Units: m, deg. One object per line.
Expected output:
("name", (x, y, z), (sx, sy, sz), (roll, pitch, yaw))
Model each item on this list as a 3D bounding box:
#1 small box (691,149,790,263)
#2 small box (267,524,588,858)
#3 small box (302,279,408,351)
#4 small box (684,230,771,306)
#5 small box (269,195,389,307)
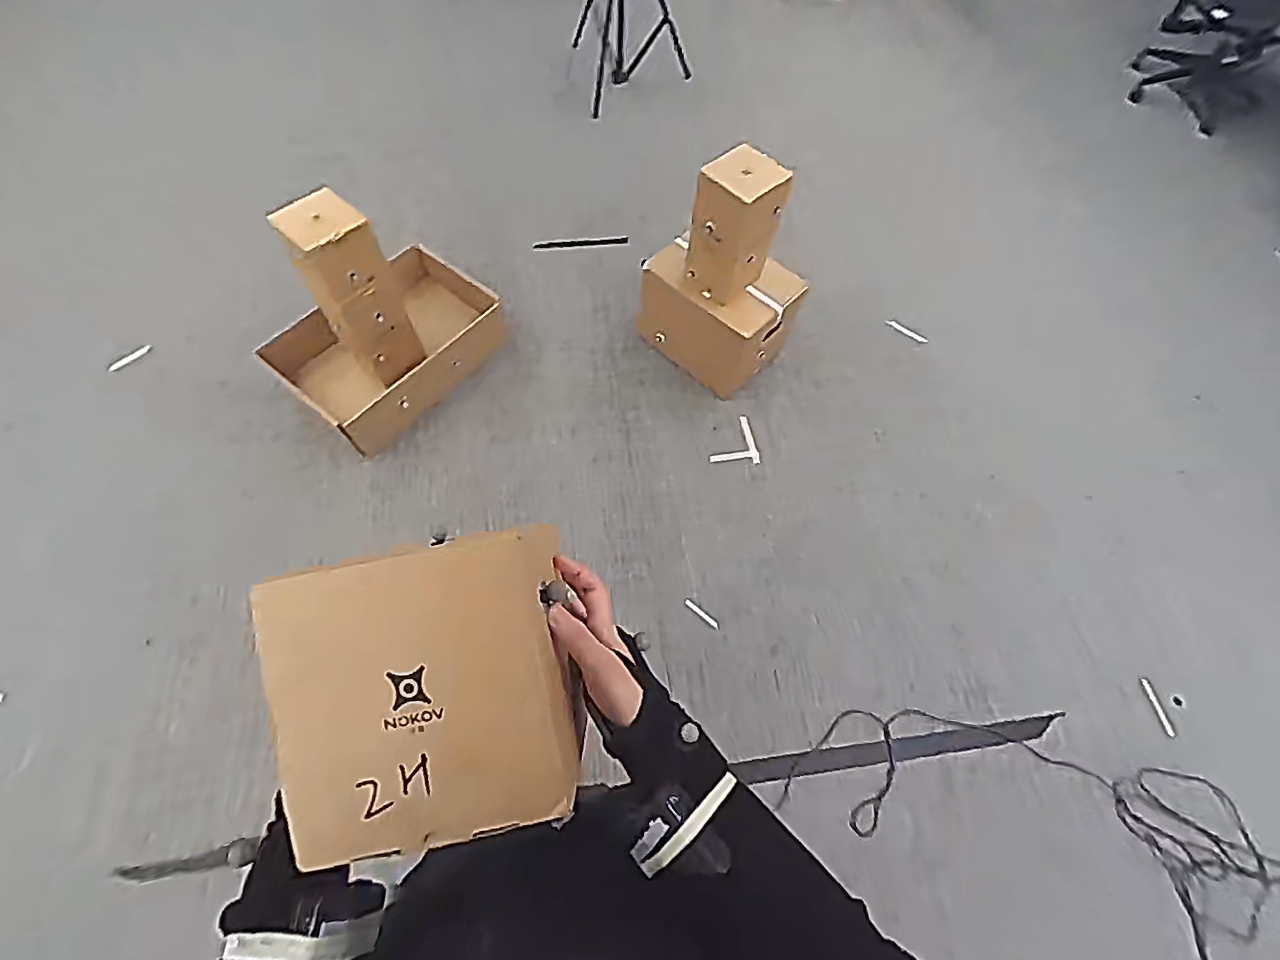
("small box", (0.251, -0.703, 1.395), (0.179, 0.176, 0.168), (-41, 72, -20))
("small box", (-0.136, 0.131, 0.406), (0.168, 0.176, 0.179), (-10, 88, -2))
("small box", (-0.784, -0.488, 1.506), (0.179, 0.176, 0.168), (39, 66, 15))
("small box", (0.242, -0.634, 1.542), (0.168, 0.176, 0.179), (41, 66, 15))
("small box", (-0.776, -0.574, 1.367), (0.179, 0.176, 0.168), (38, 66, 15))
